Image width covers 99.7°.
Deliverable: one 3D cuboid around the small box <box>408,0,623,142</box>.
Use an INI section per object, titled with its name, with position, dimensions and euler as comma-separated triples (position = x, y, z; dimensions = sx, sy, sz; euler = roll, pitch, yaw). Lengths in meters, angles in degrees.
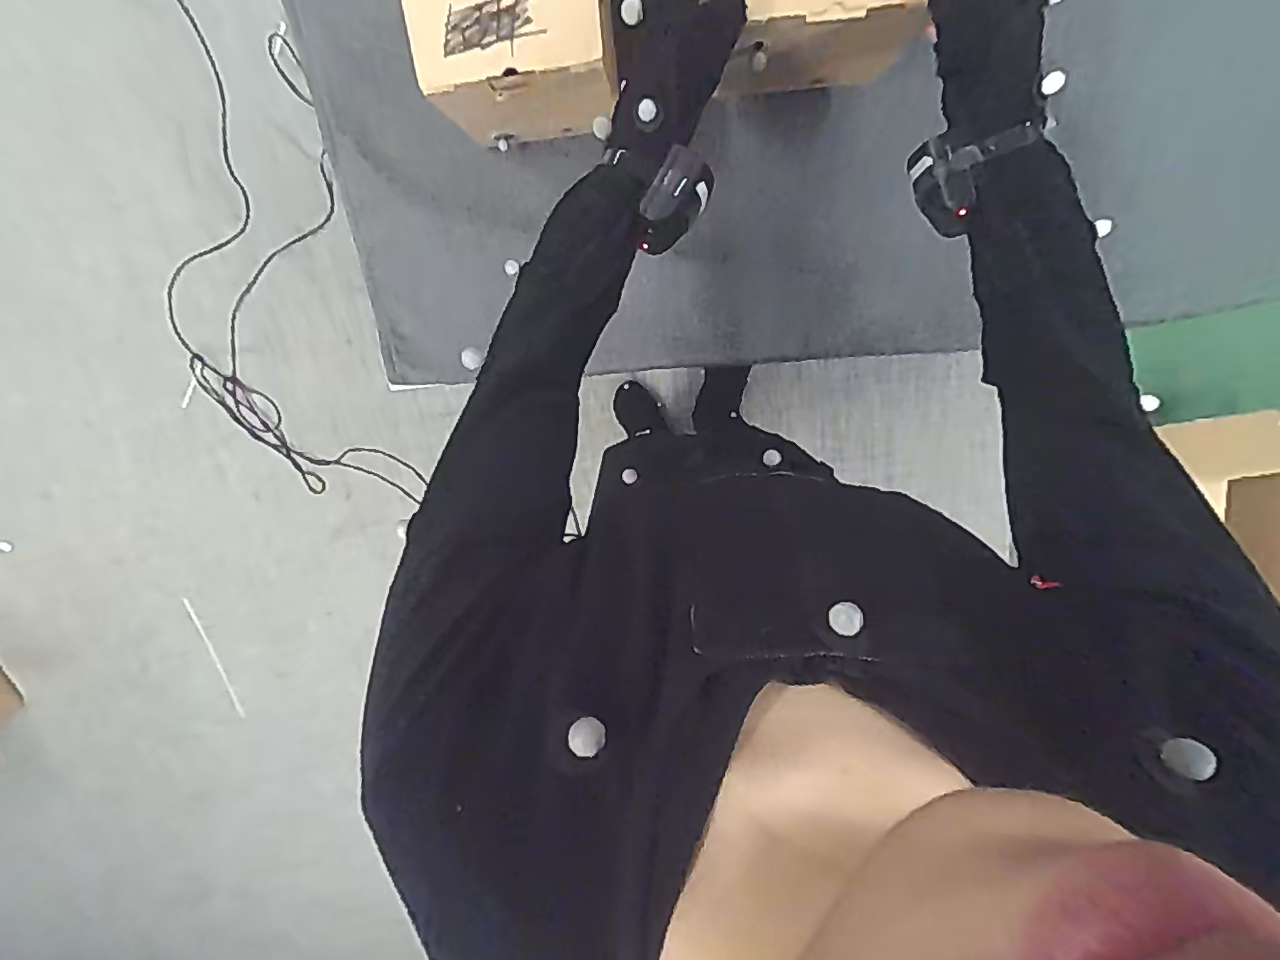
[small box]
position = -0.111, -0.451, 0.525
dimensions = 0.168, 0.176, 0.179
euler = -5, 106, 5
